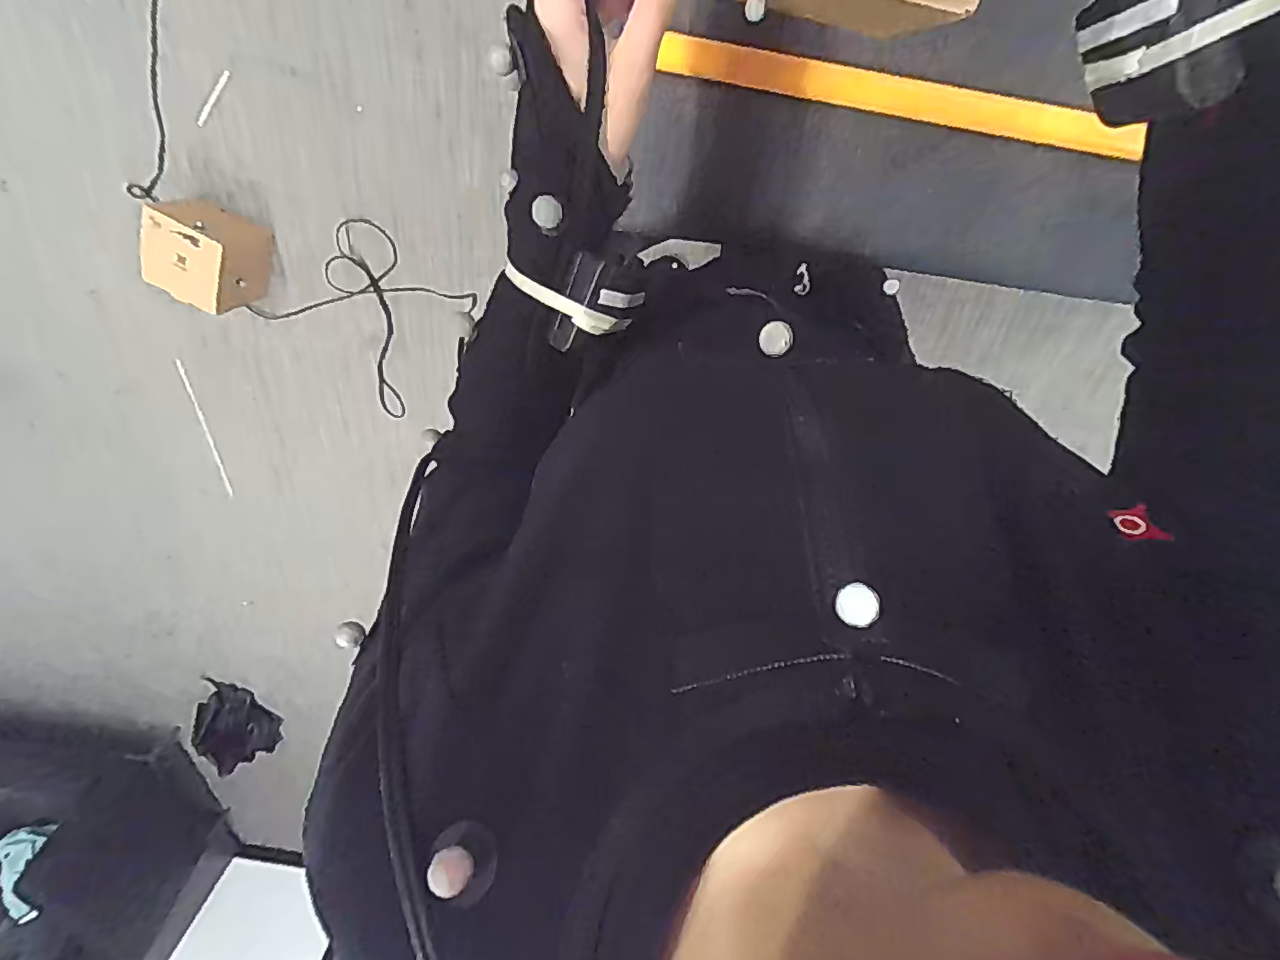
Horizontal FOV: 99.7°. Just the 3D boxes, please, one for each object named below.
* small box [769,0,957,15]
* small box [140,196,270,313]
[{"bbox_3d":[0.090,-0.348,0.257,0.179,0.176,0.168,13,127,-1],"label":"small box"},{"bbox_3d":[-0.980,-0.515,1.228,0.168,0.176,0.179,28,121,-11],"label":"small box"}]
